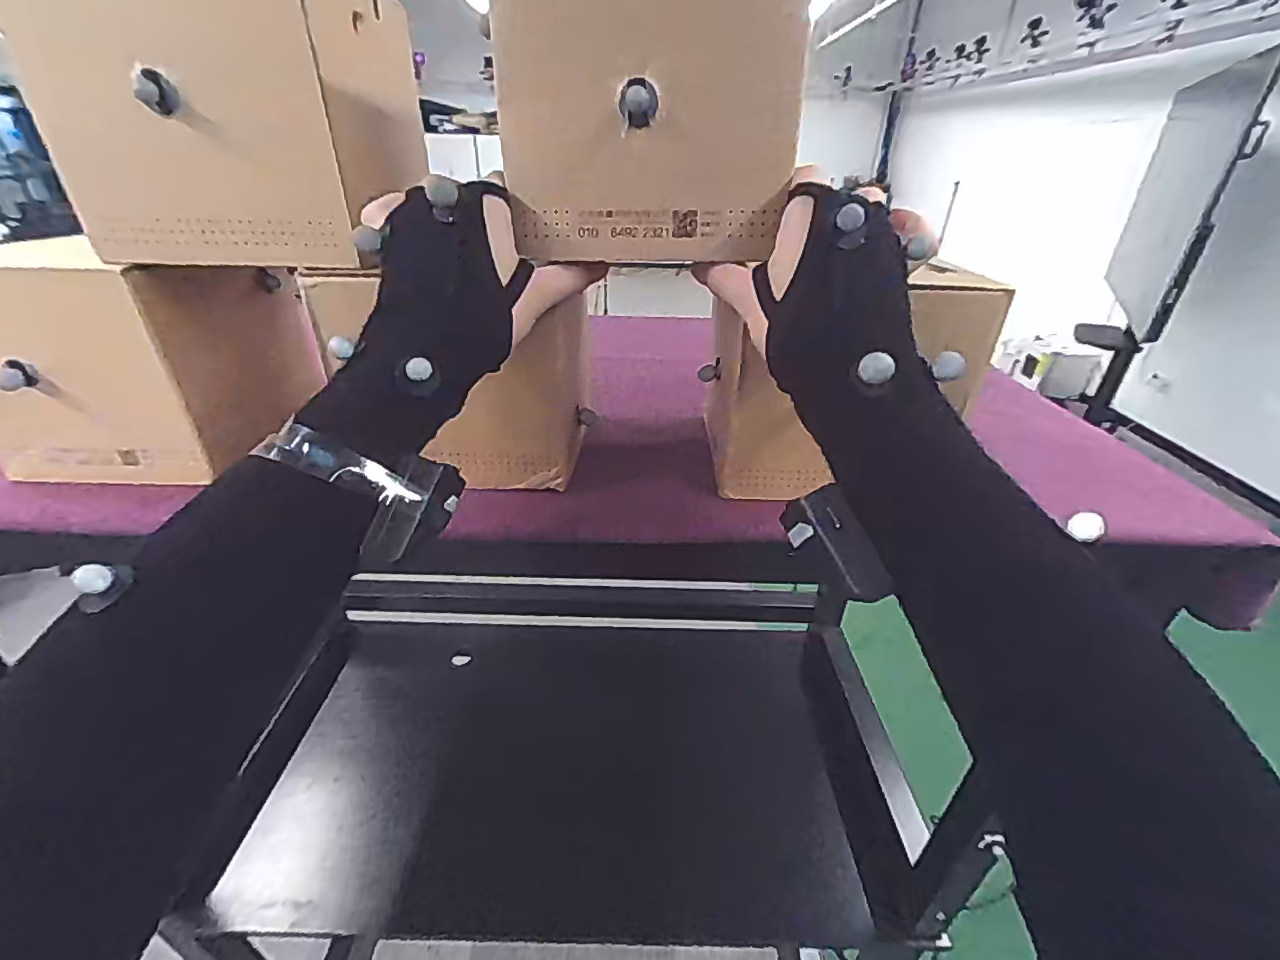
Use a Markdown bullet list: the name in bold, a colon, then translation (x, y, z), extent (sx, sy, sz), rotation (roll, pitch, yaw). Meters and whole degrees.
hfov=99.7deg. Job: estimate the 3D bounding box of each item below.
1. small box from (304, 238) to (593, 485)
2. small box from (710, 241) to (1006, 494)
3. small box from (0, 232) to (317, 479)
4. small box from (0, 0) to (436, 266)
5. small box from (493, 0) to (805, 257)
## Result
- **small box**: translation (-0.137, -0.106, 0.463), extent (0.179, 0.176, 0.168), rotation (2, 31, 0)
- **small box**: translation (0.154, -0.098, 0.458), extent (0.179, 0.176, 0.168), rotation (0, 32, 0)
- **small box**: translation (-0.412, -0.111, 0.461), extent (0.168, 0.176, 0.179), rotation (1, 30, -1)
- **small box**: translation (-0.264, -0.255, 0.386), extent (0.179, 0.176, 0.168), rotation (0, 30, -1)
- **small box**: translation (0.009, -0.245, 0.365), extent (0.168, 0.176, 0.179), rotation (1, 26, 2)
